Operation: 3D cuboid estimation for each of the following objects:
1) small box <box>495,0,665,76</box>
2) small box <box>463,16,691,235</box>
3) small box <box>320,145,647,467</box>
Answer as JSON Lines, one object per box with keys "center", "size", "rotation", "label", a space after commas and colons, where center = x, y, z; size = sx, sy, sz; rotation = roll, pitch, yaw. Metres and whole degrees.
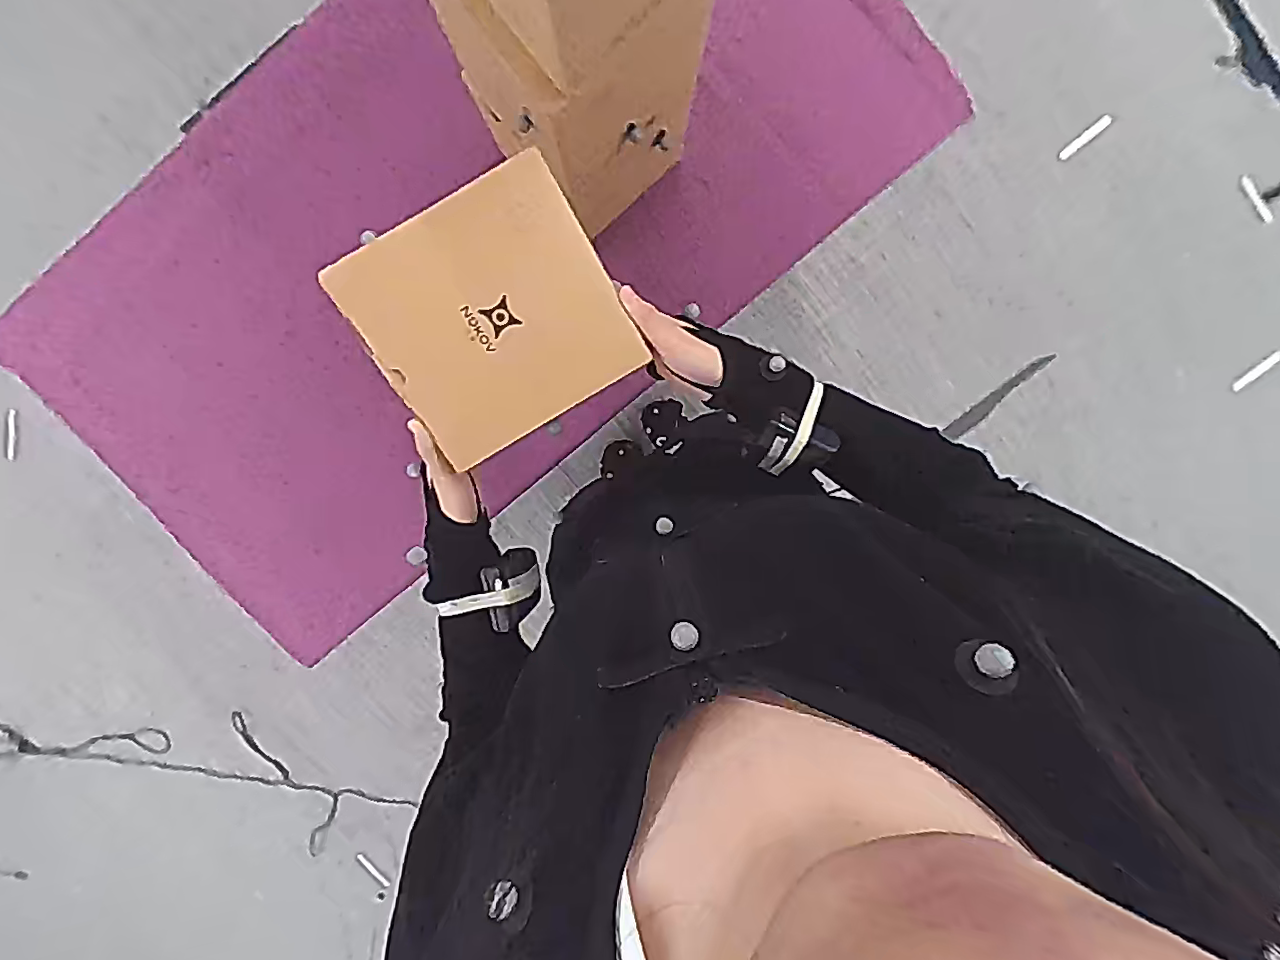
{"center": [-0.048, -0.388, 0.298], "size": [0.168, 0.176, 0.179], "rotation": [-41, 96, 5], "label": "small box"}
{"center": [-0.065, -0.422, 0.624], "size": [0.179, 0.176, 0.168], "rotation": [-41, 96, 6], "label": "small box"}
{"center": [-0.117, -0.139, 0.462], "size": [0.179, 0.176, 0.168], "rotation": [-30, 107, 2], "label": "small box"}
